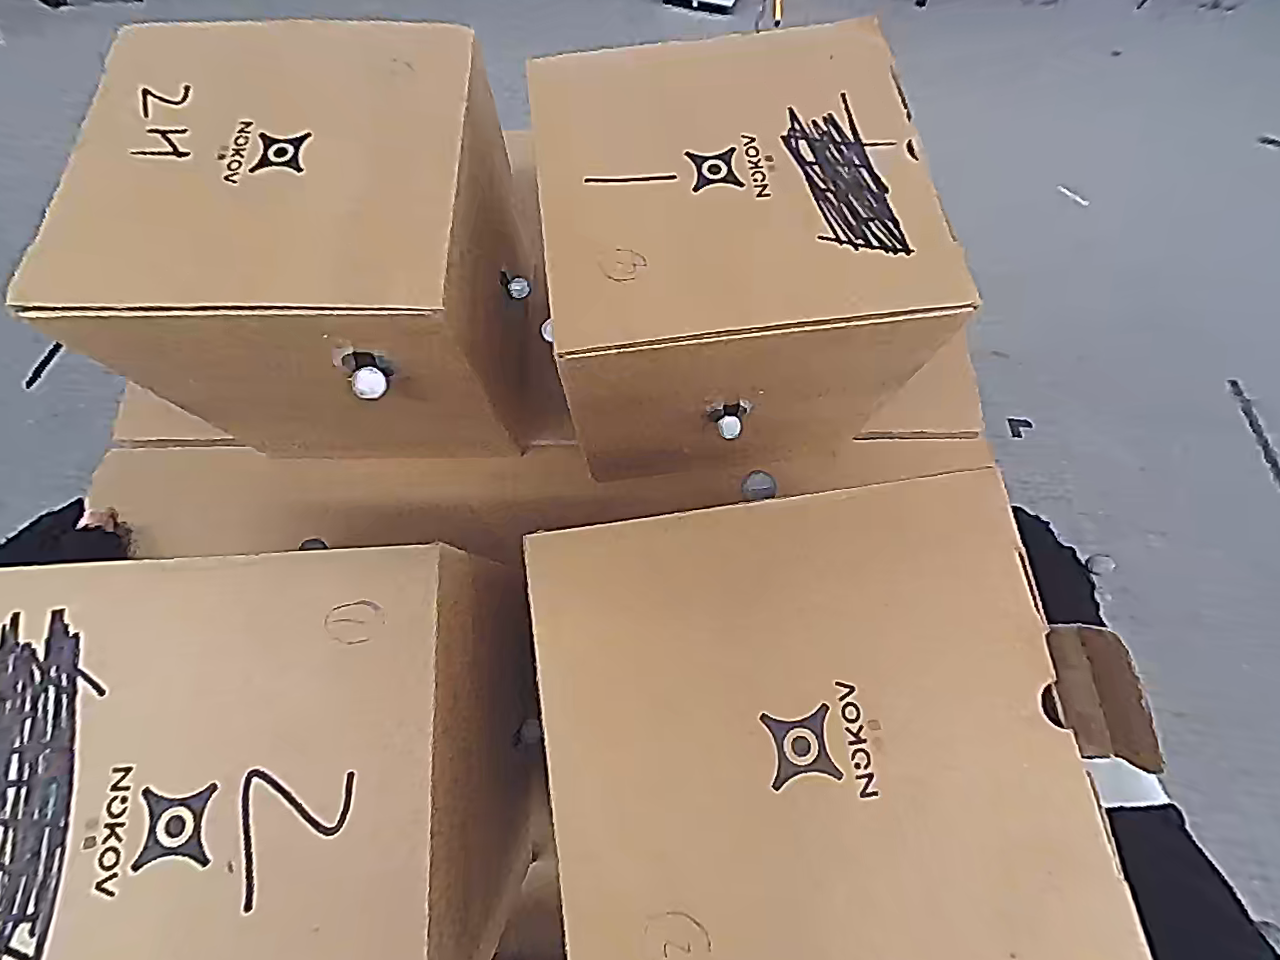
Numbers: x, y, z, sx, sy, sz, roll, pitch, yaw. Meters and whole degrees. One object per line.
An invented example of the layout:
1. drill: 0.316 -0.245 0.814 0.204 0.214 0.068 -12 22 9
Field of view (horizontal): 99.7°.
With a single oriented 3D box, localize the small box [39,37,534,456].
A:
1. small box: -0.167 -0.120 0.329 0.179 0.176 0.168 1 71 0
